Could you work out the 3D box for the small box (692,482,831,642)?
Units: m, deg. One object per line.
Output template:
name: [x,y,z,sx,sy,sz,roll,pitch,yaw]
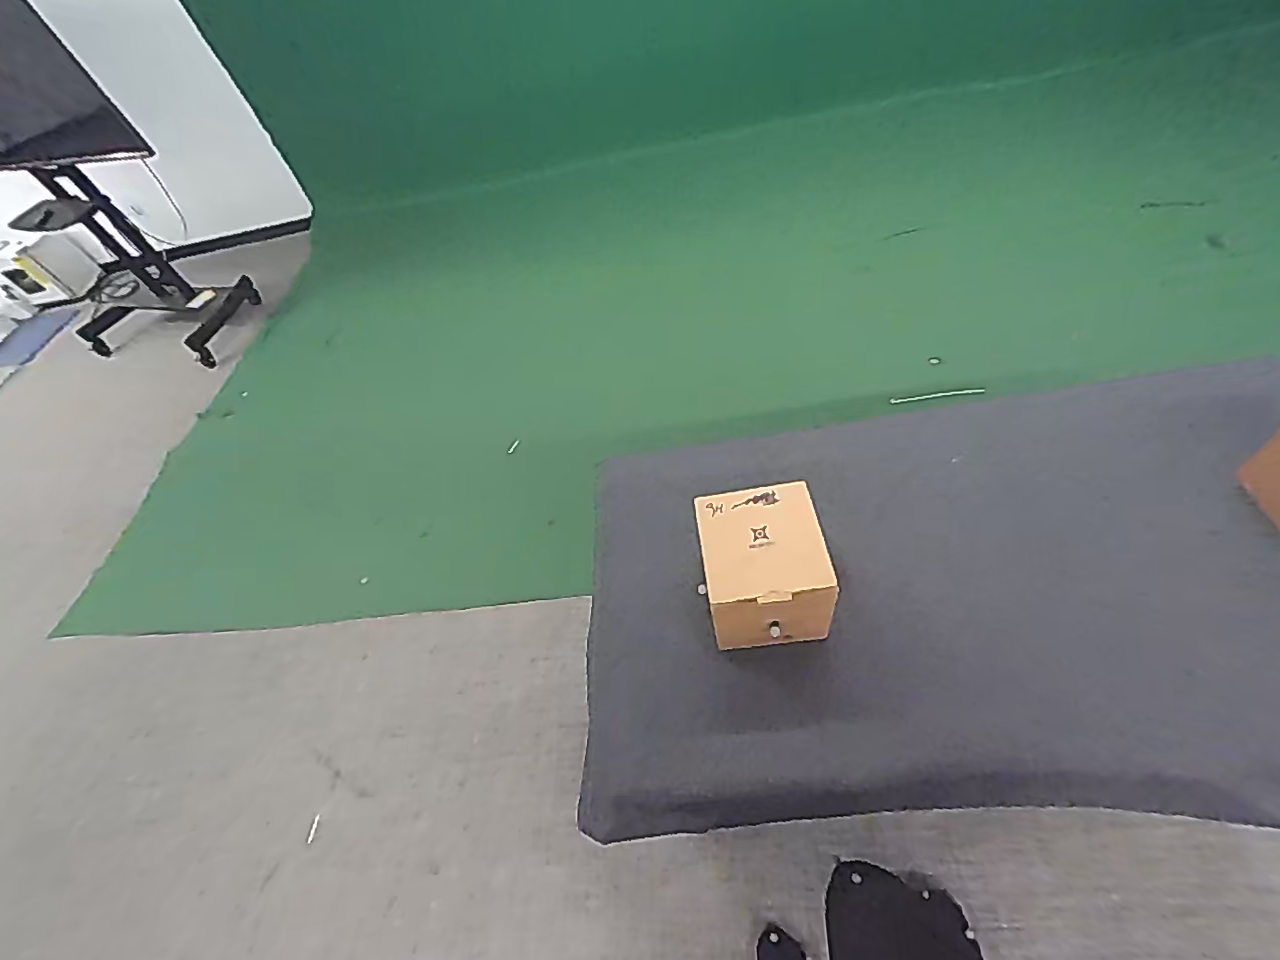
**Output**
small box: [0.176,0.130,0.807,0.168,0.176,0.179,-9,52,6]
